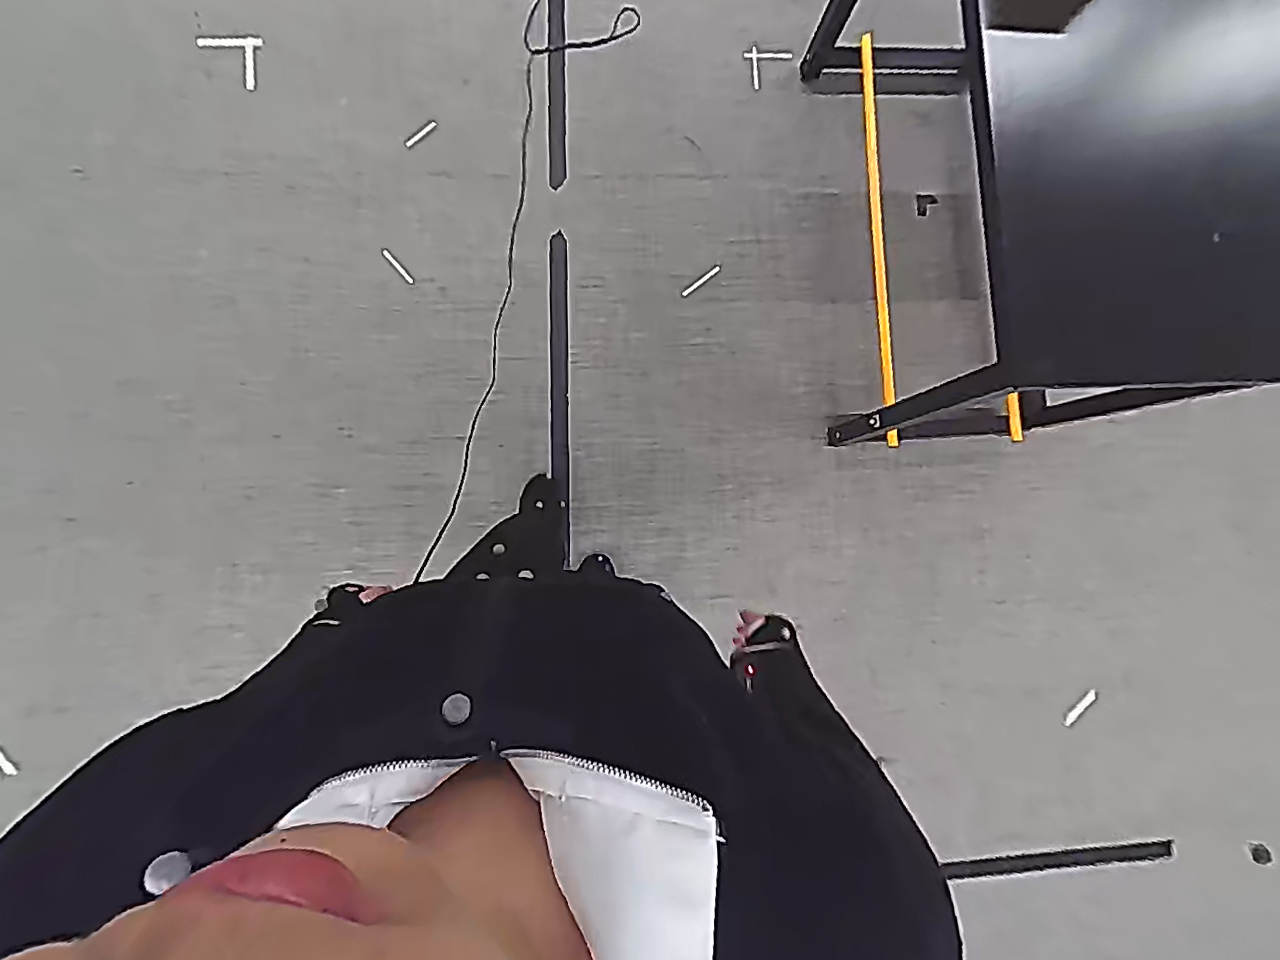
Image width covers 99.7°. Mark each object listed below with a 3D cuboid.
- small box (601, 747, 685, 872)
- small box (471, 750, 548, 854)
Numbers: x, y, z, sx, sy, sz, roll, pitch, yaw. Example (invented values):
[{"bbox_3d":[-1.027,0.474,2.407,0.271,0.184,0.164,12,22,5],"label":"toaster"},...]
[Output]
[{"bbox_3d":[0.002,0.734,1.222,0.168,0.176,0.179,-6,85,-6],"label":"small box"},{"bbox_3d":[-0.323,0.797,1.359,0.168,0.176,0.179,-2,85,-4],"label":"small box"}]
